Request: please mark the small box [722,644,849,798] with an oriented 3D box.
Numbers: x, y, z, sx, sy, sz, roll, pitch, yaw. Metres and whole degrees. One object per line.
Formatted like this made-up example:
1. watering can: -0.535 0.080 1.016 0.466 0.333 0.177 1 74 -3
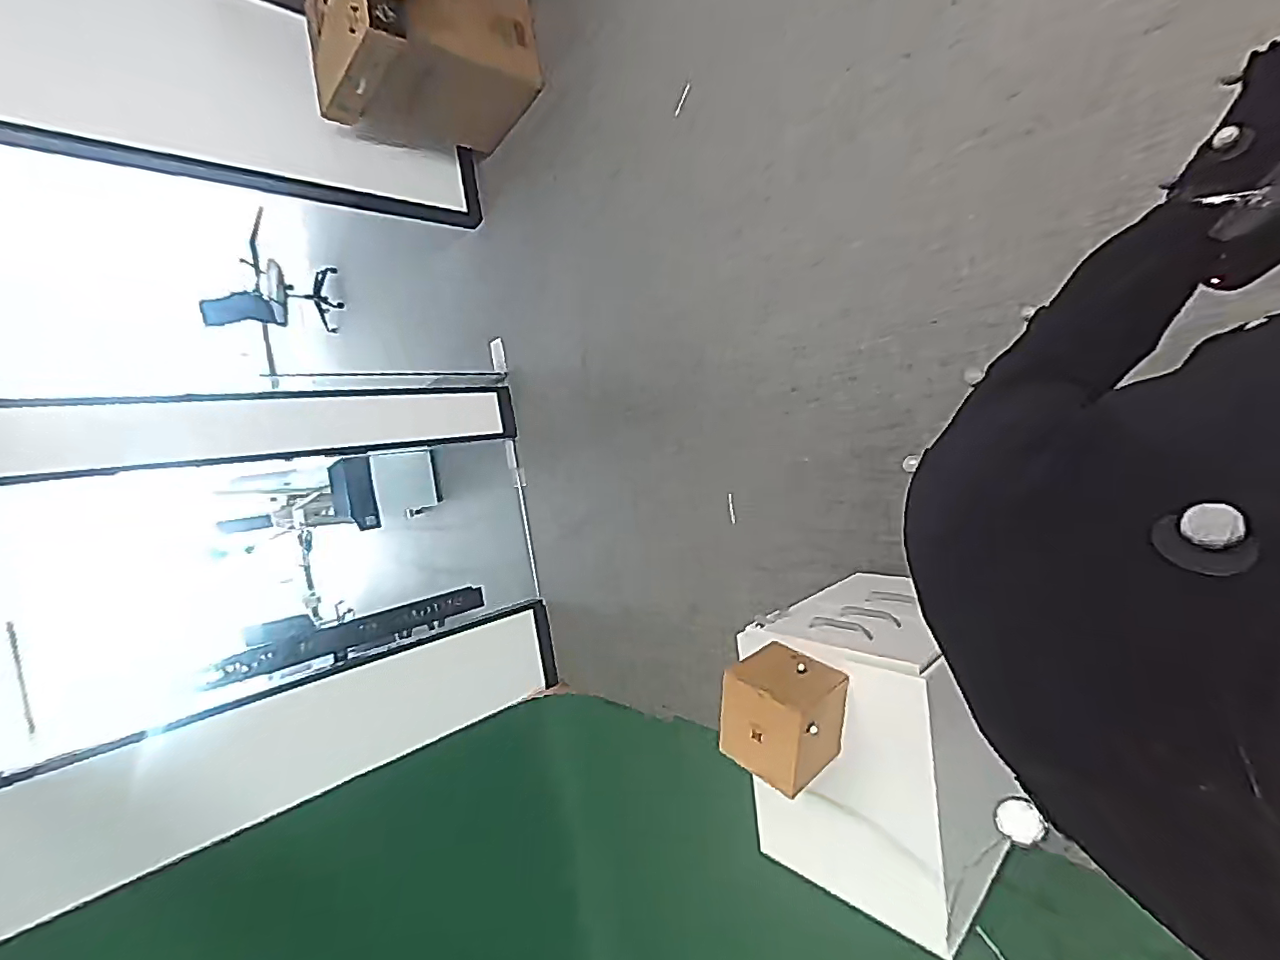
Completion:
1. small box: 0.274 0.441 1.020 0.168 0.176 0.179 15 109 46
